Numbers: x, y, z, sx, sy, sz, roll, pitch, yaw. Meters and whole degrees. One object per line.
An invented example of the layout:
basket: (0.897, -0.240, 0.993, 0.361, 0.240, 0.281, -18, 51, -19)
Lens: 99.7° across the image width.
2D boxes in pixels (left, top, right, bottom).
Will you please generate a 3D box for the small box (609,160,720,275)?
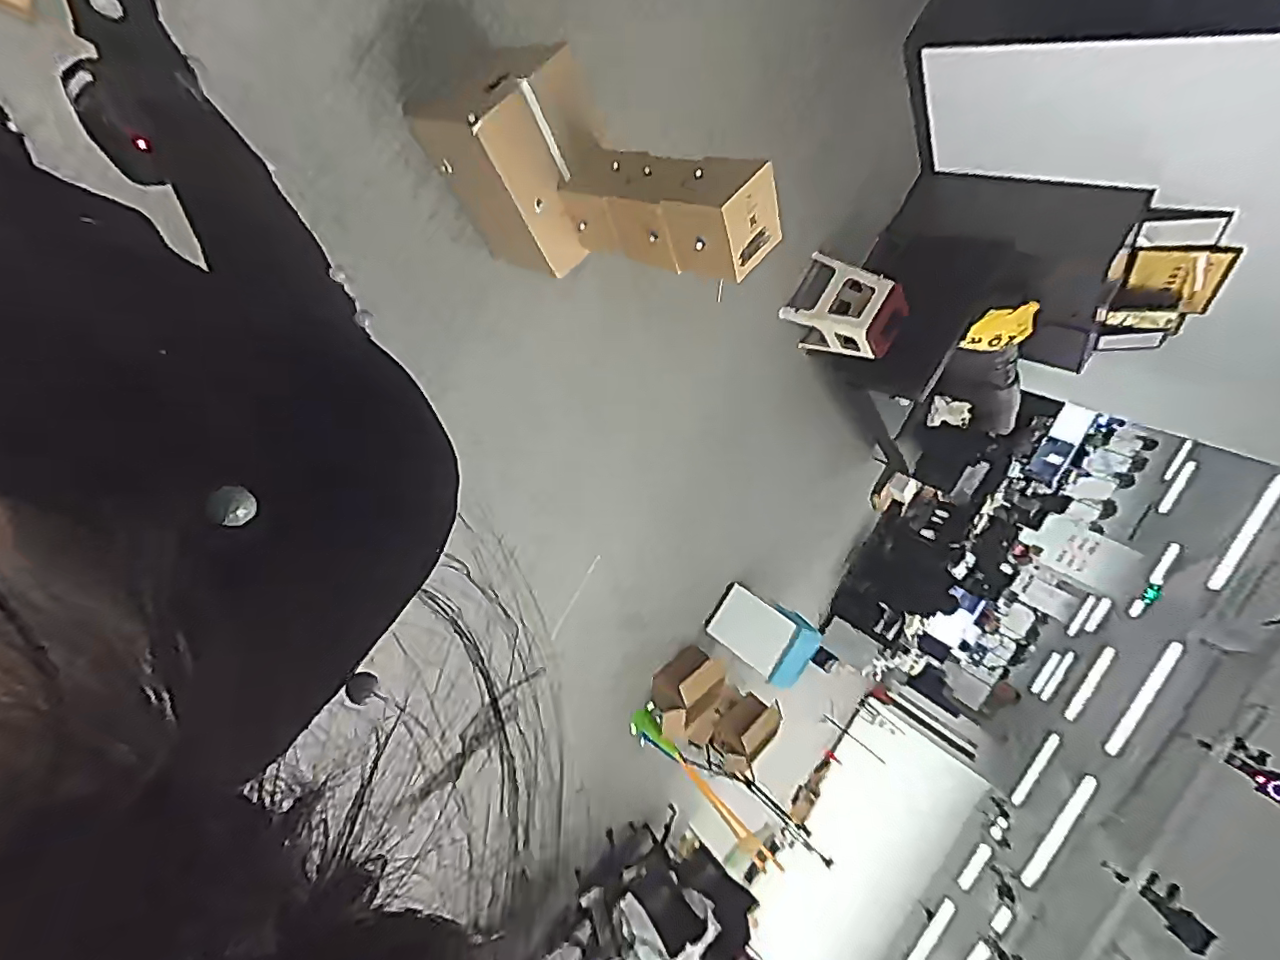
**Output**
small box: (0.057, -0.610, 1.249, 0.168, 0.176, 0.179, -48, 142, -16)

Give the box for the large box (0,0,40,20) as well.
large box: (-0.956, -0.821, 0.601, 0.408, 0.320, 0.320, 7, 109, -50)

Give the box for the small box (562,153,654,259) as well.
small box: (-0.059, -0.682, 1.336, 0.179, 0.176, 0.168, -49, 143, -14)
